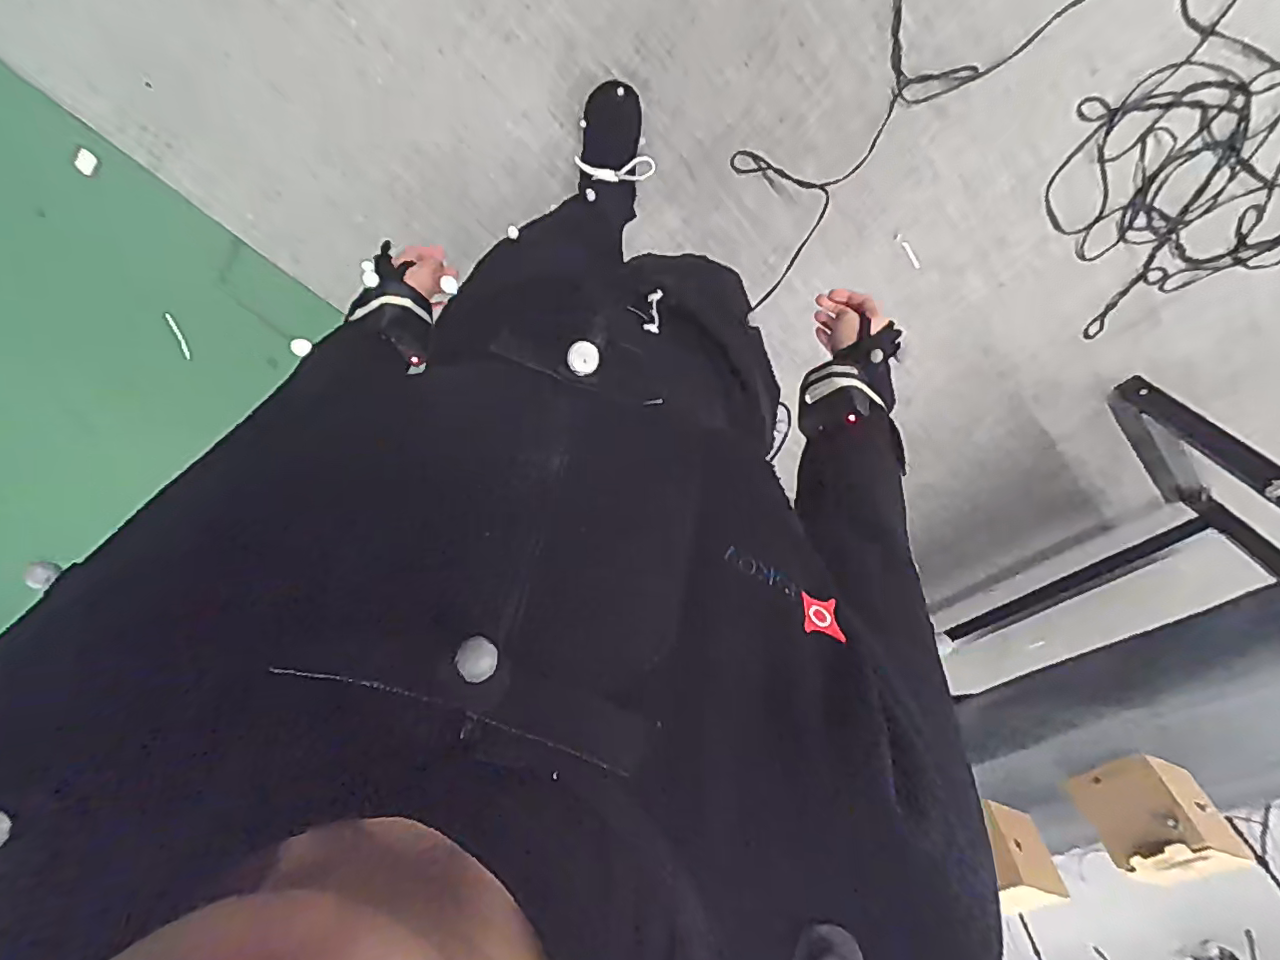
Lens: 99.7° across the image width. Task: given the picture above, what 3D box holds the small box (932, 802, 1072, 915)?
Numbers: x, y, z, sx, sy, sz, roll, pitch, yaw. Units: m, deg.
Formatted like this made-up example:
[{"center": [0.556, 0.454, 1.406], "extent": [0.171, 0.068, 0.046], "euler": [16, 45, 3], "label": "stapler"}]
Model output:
[{"center": [0.810, 0.858, 1.231], "extent": [0.179, 0.176, 0.168], "euler": [26, 125, -21], "label": "small box"}]
